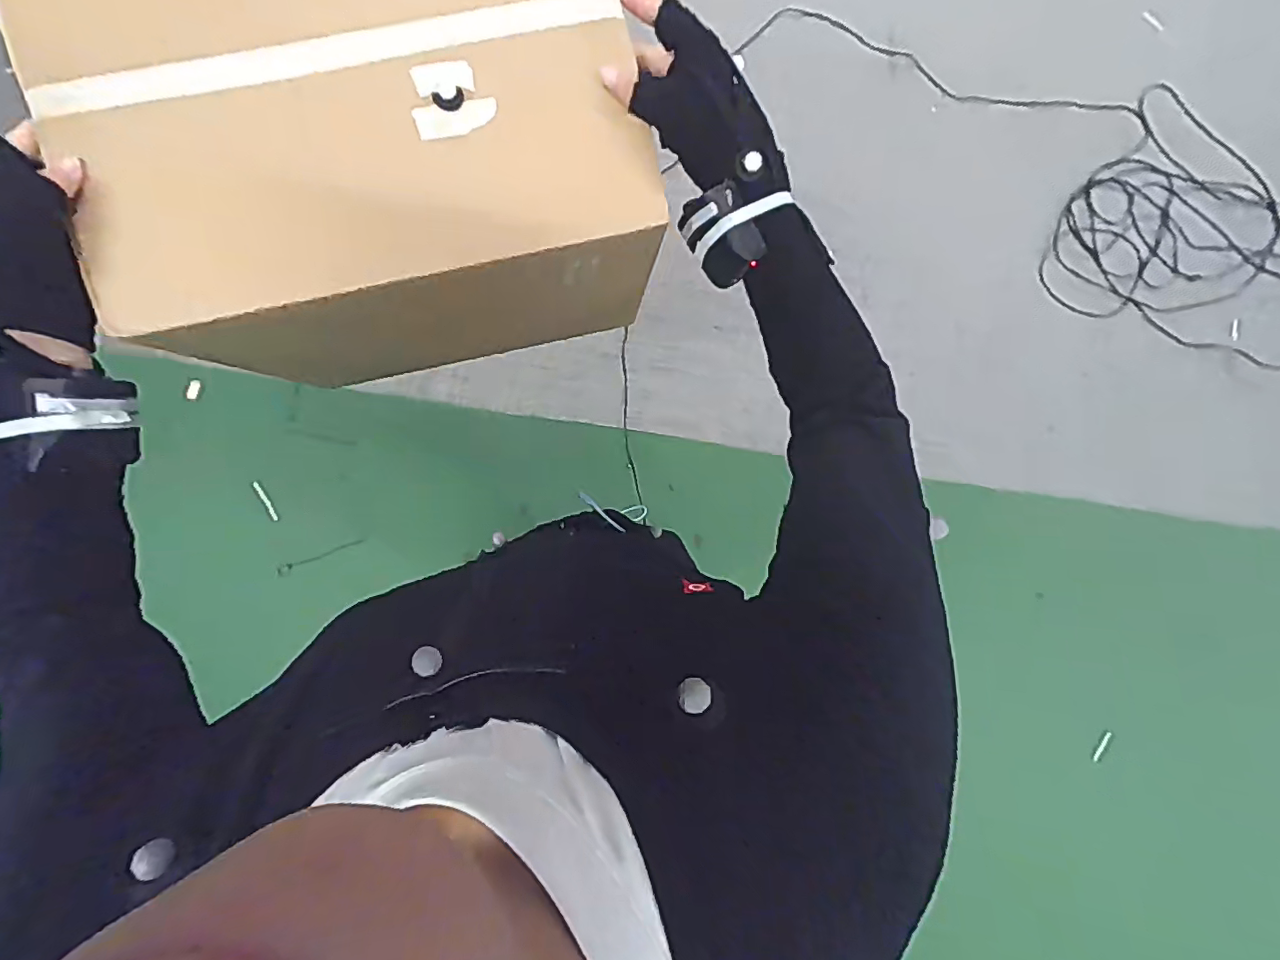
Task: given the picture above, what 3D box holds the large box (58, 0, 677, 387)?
[{"bbox_3d":[-0.211,-0.306,0.545,0.408,0.320,0.320,-14,94,-5],"label":"large box"}]
